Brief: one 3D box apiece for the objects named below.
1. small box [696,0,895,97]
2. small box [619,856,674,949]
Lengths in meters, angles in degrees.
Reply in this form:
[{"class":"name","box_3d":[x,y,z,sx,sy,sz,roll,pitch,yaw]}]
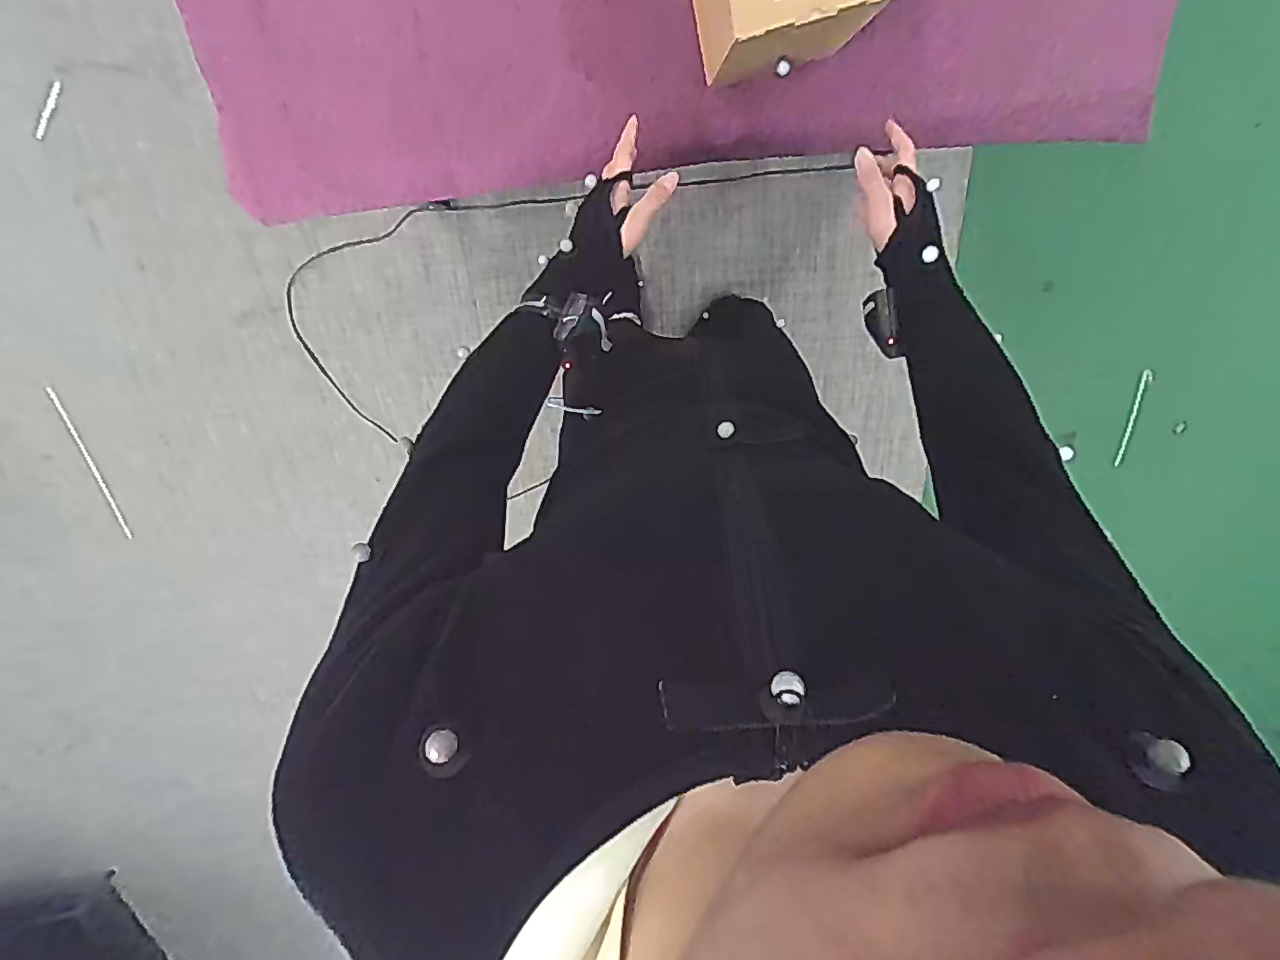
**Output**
[{"class":"small box","box_3d":[0.152,-0.557,0.585,0.168,0.176,0.179,-14,111,3]},{"class":"small box","box_3d":[0.019,1.321,1.695,0.168,0.176,0.179,-3,111,-1]}]
